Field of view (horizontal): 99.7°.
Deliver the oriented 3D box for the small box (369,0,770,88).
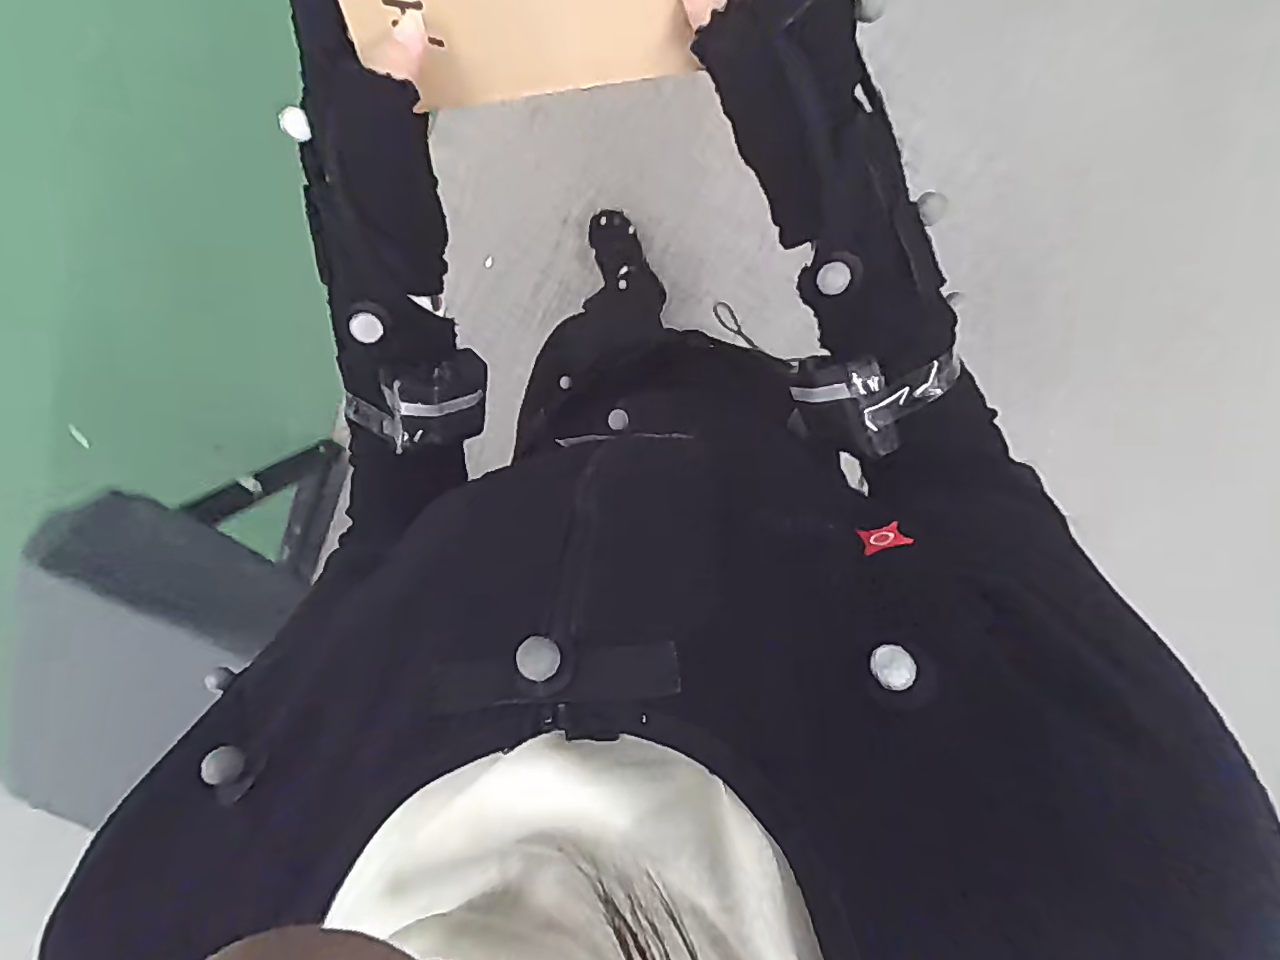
[{"bbox_3d":[-0.037,-0.304,0.251,0.179,0.176,0.168,-5,134,3],"label":"small box"}]
